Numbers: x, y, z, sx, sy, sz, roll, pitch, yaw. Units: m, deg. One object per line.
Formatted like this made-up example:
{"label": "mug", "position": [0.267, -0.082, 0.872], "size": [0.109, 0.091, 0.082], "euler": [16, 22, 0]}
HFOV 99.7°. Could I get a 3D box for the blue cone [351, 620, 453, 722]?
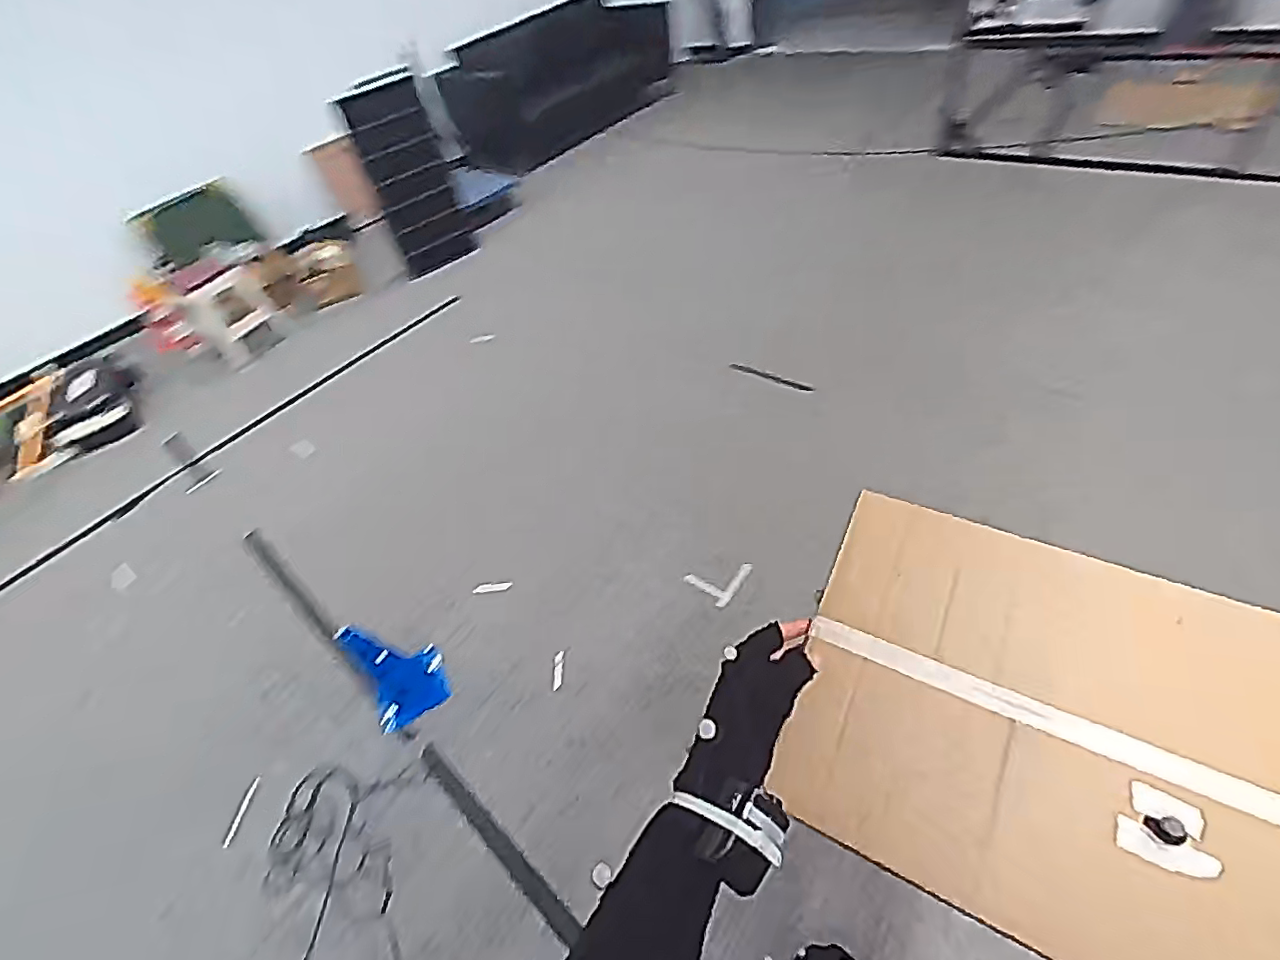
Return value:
{"label": "blue cone", "position": [-0.697, 0.508, 1.525], "size": [0.193, 0.380, 0.192], "euler": [-27, 48, -13]}
